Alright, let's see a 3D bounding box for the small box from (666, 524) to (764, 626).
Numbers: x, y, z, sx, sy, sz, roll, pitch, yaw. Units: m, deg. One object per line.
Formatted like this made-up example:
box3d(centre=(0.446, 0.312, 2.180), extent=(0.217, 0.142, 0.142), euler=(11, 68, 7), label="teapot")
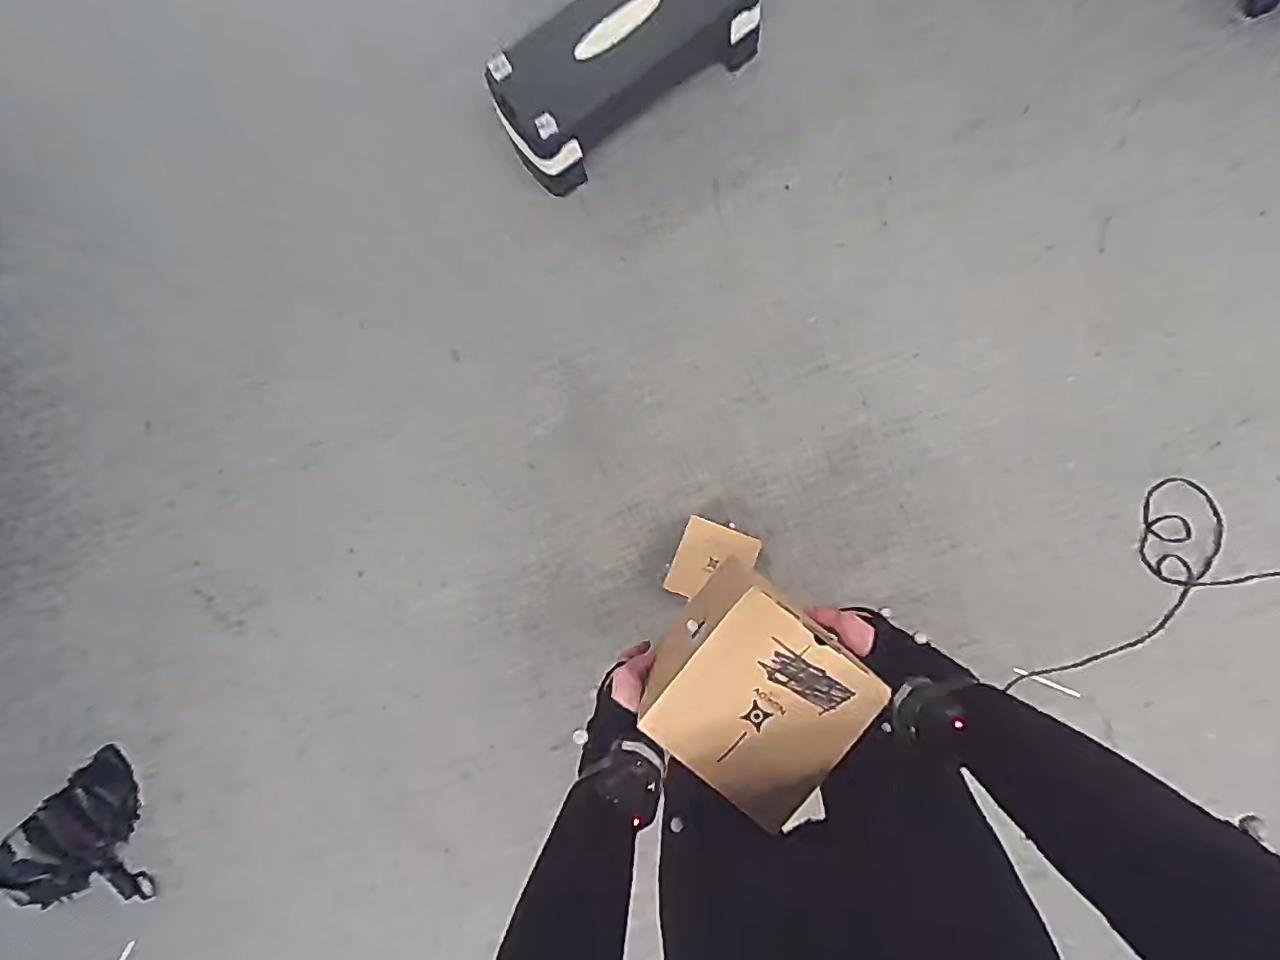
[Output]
box3d(centre=(0.173, 0.213, 1.244), extent=(0.168, 0.176, 0.179), euler=(21, 86, 9), label="small box")
